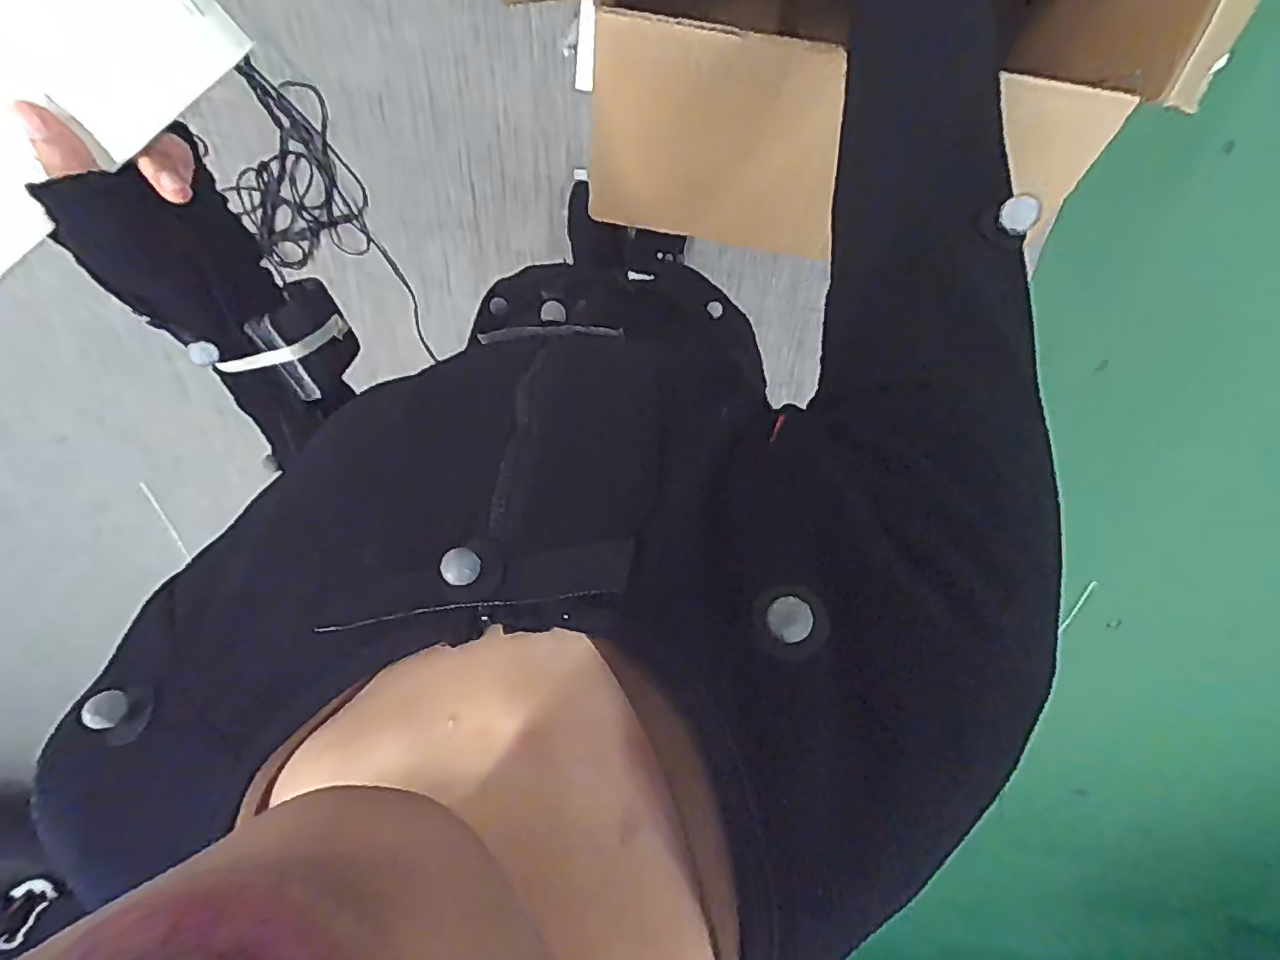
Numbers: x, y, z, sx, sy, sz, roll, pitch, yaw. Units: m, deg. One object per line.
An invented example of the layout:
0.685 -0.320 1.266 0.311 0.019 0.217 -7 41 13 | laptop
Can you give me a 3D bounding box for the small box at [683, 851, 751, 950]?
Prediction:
0.202 1.137 1.463 0.168 0.176 0.179 -2 124 3 | small box
